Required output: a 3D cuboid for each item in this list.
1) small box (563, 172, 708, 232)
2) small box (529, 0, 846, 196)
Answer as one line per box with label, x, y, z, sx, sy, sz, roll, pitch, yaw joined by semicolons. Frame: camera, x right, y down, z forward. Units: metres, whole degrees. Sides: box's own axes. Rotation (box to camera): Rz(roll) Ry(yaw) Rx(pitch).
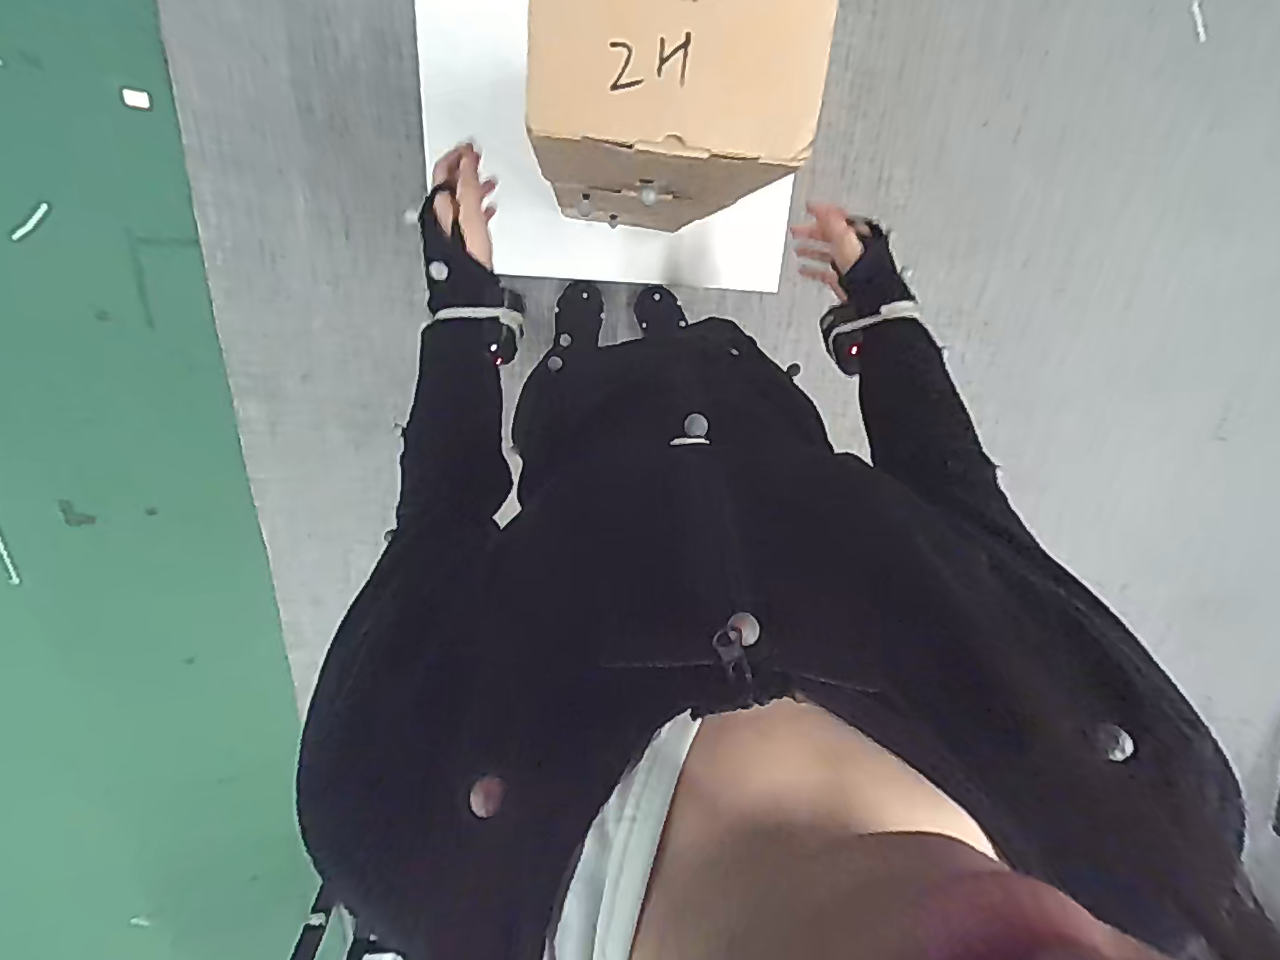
small box;-0.005;-0.412;0.652;0.168;0.176;0.179;4;109;-7
small box;0.021;-0.298;0.344;0.168;0.176;0.179;3;110;-6
